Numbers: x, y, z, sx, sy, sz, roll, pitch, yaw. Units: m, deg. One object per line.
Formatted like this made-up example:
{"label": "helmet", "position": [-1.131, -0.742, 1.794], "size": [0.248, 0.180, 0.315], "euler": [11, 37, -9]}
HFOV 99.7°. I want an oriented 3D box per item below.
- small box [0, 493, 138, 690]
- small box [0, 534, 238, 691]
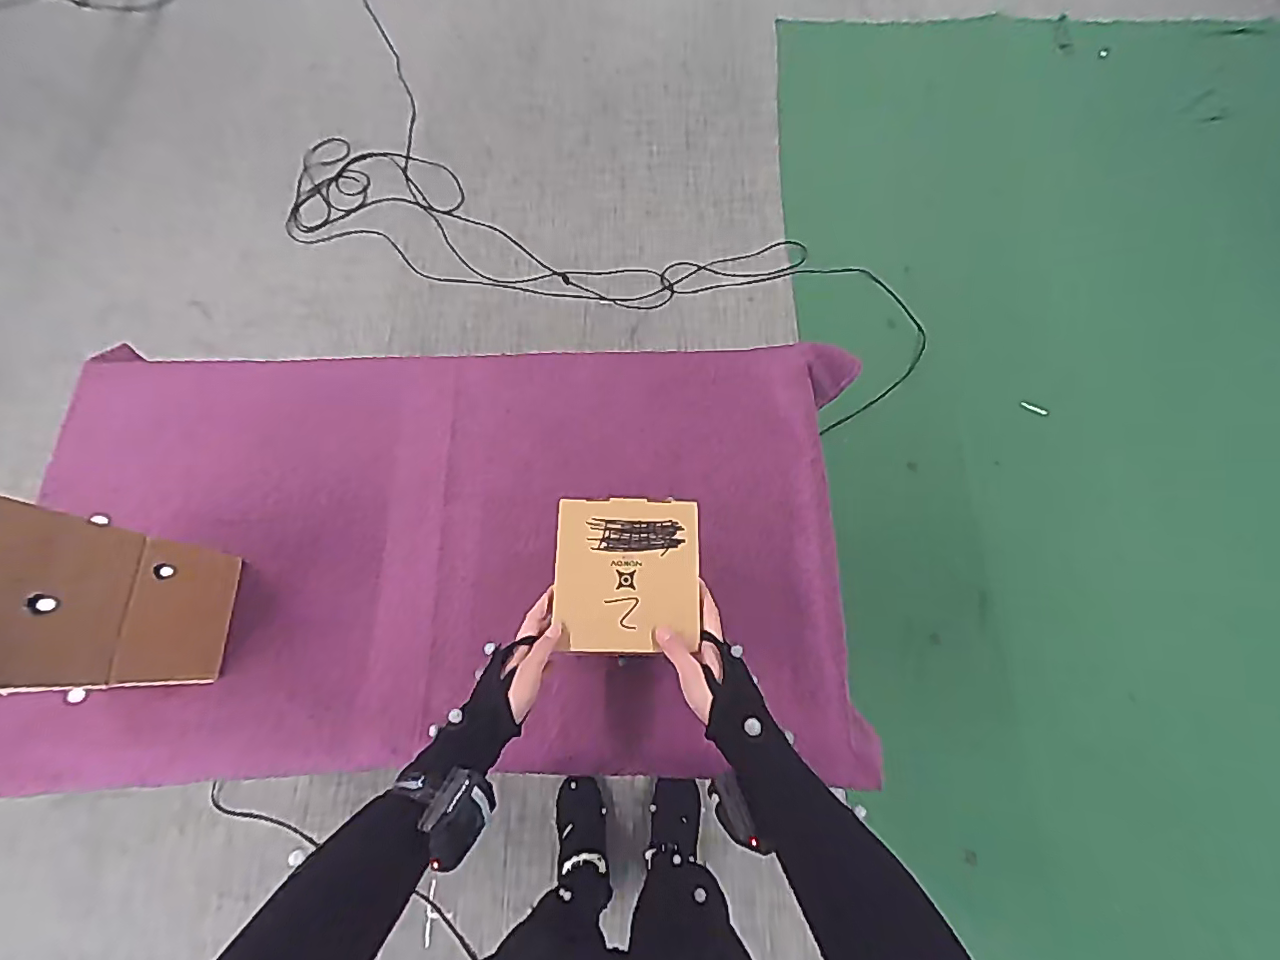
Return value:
{"label": "small box", "position": [-0.674, 0.119, 0.548], "size": [0.168, 0.176, 0.179], "euler": [-2, 71, 1]}
{"label": "small box", "position": [-0.671, 0.175, 0.702], "size": [0.168, 0.176, 0.179], "euler": [-2, 70, 1]}
